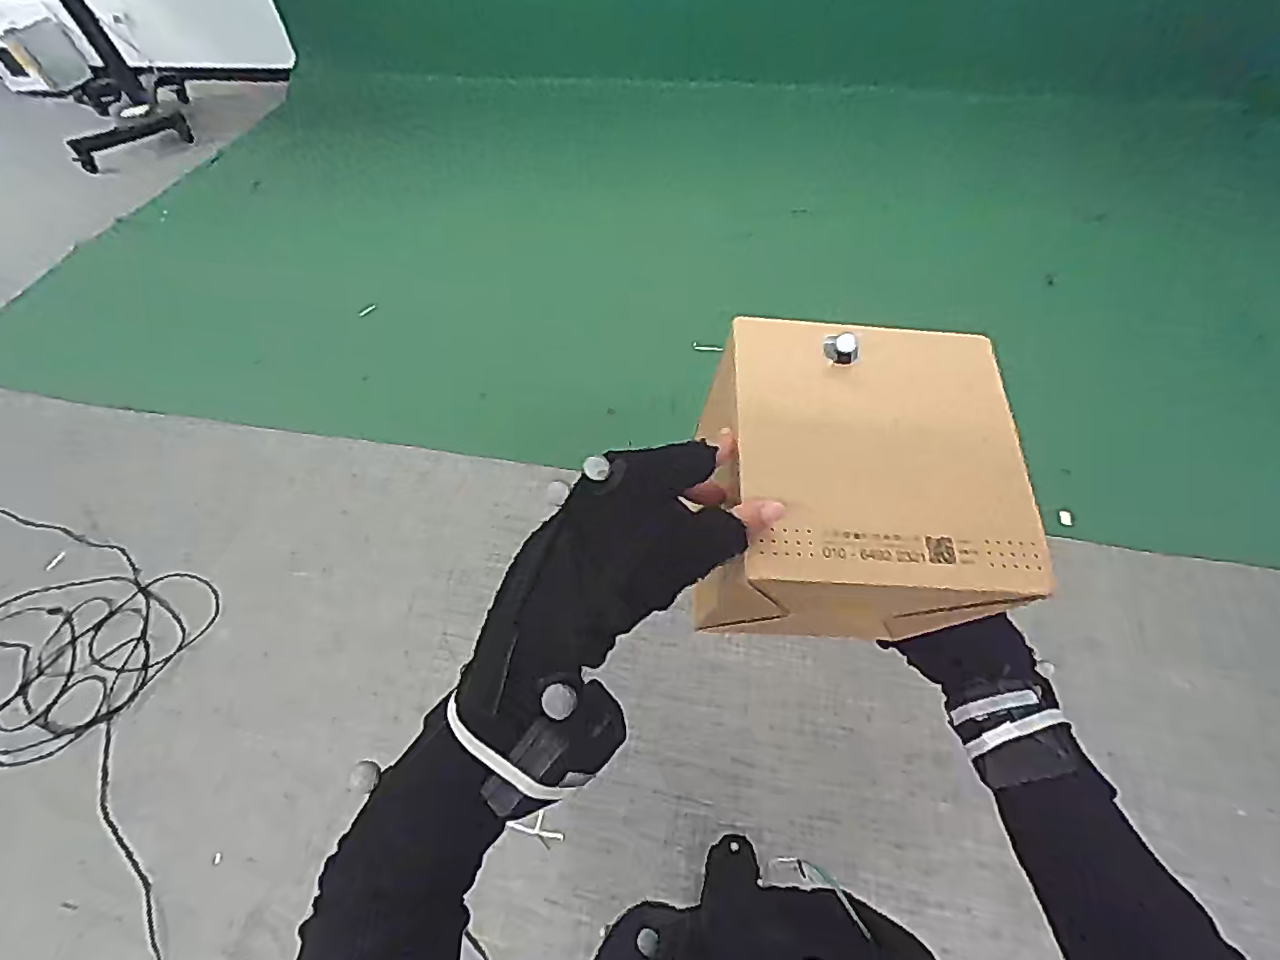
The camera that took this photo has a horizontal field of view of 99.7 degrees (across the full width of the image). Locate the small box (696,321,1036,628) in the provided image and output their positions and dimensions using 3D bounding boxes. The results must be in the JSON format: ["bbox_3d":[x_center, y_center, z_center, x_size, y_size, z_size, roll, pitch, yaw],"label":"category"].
[{"bbox_3d":[0.133,0.013,0.392,0.168,0.179,0.176,3,66,-3],"label":"small box"}]
